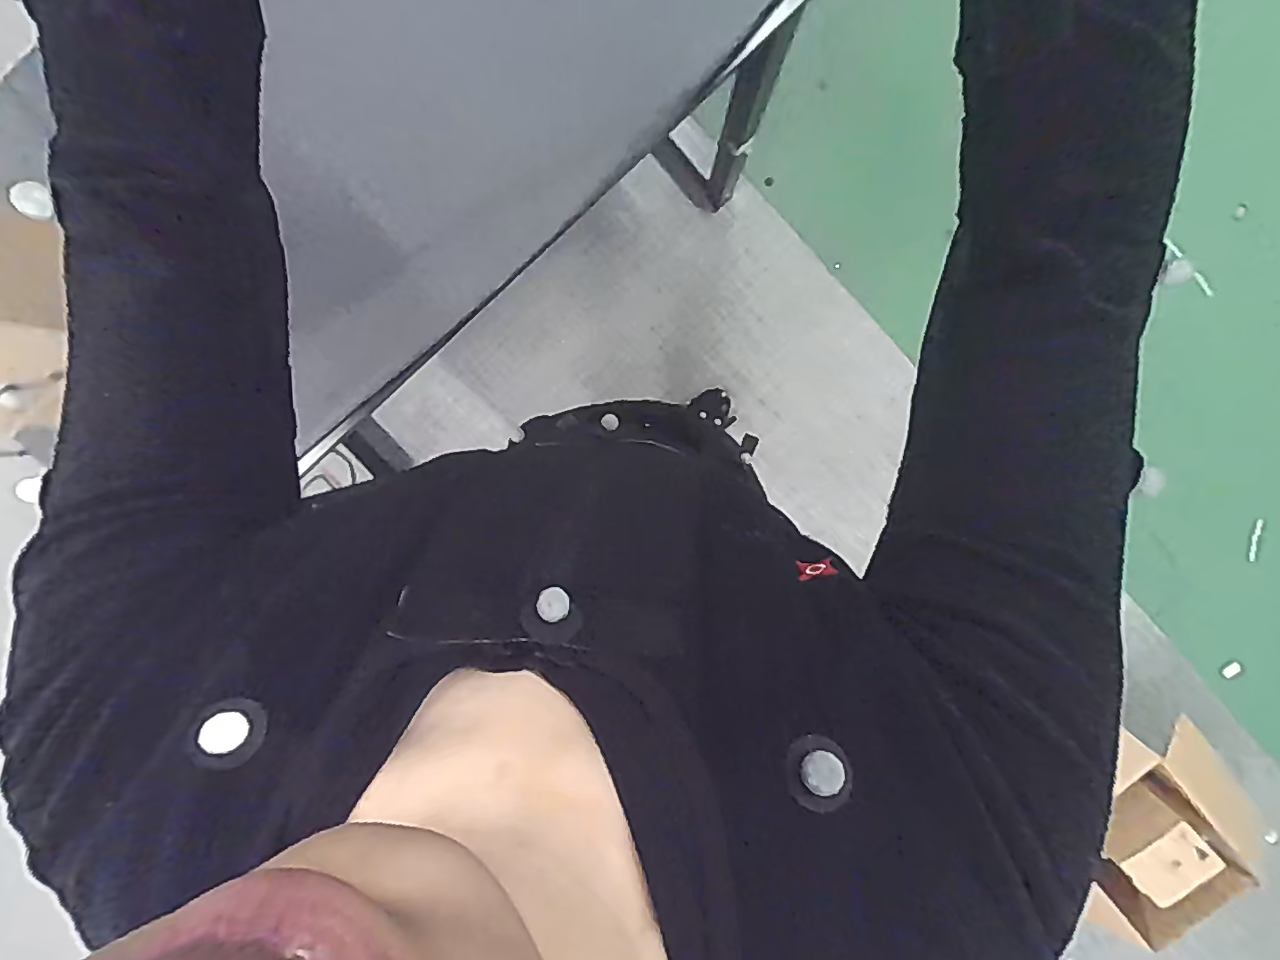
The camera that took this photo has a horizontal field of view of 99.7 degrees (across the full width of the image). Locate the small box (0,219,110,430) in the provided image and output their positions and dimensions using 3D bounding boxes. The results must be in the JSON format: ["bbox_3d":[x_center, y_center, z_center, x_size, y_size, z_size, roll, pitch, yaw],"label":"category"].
[{"bbox_3d":[-0.654,-0.151,0.474,0.168,0.176,0.179,-39,96,4],"label":"small box"}]
